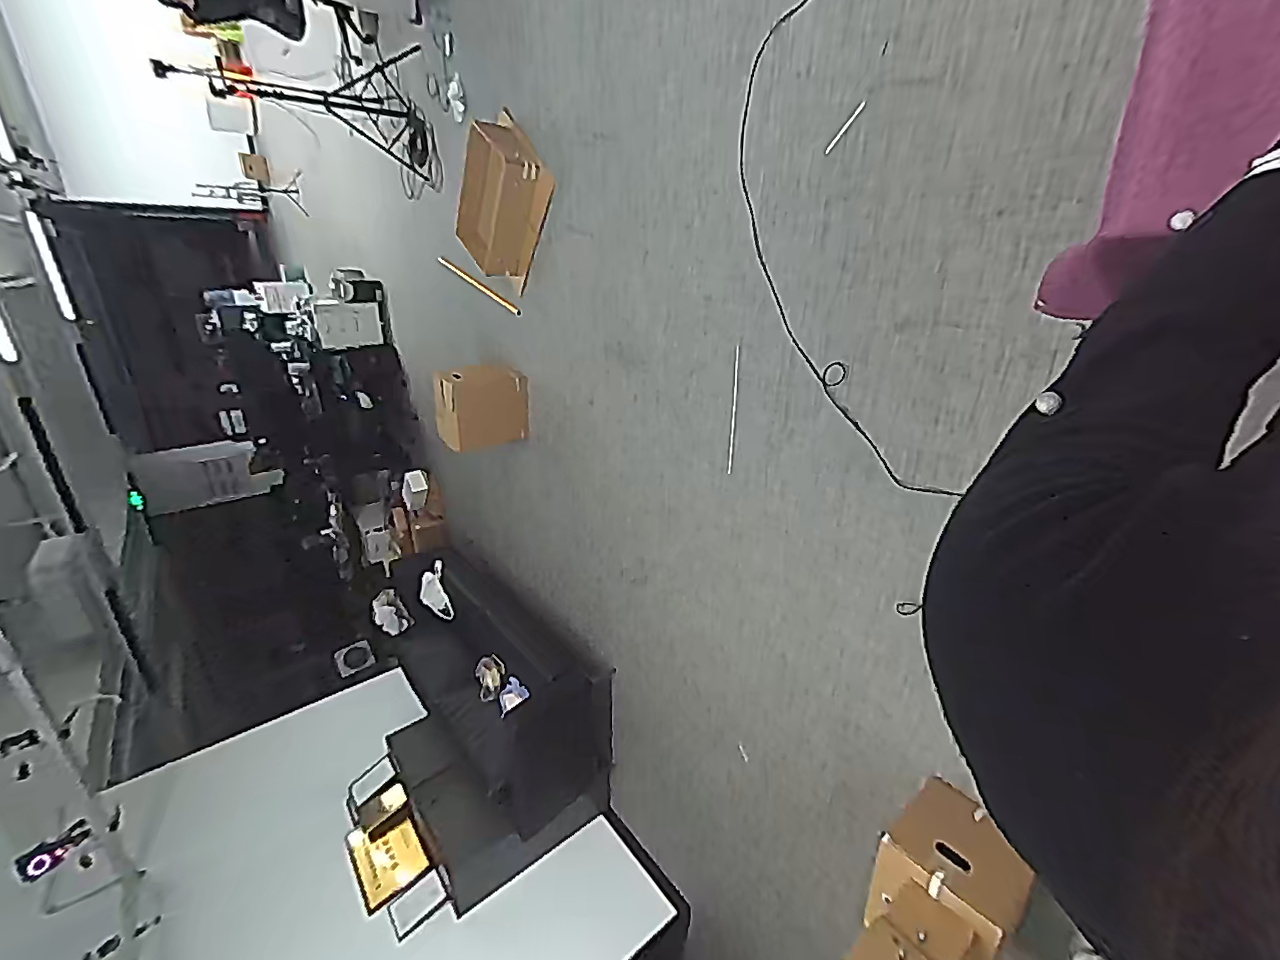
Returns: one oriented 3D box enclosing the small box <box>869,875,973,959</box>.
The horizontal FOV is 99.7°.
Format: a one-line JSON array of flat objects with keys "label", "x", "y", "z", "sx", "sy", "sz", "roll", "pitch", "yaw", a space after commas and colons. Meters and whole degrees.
[{"label": "small box", "x": 0.735, "y": 1.189, "z": 1.418, "sx": 0.179, "sy": 0.176, "sz": 0.168, "roll": 21, "pitch": 120, "yaw": 45}]
